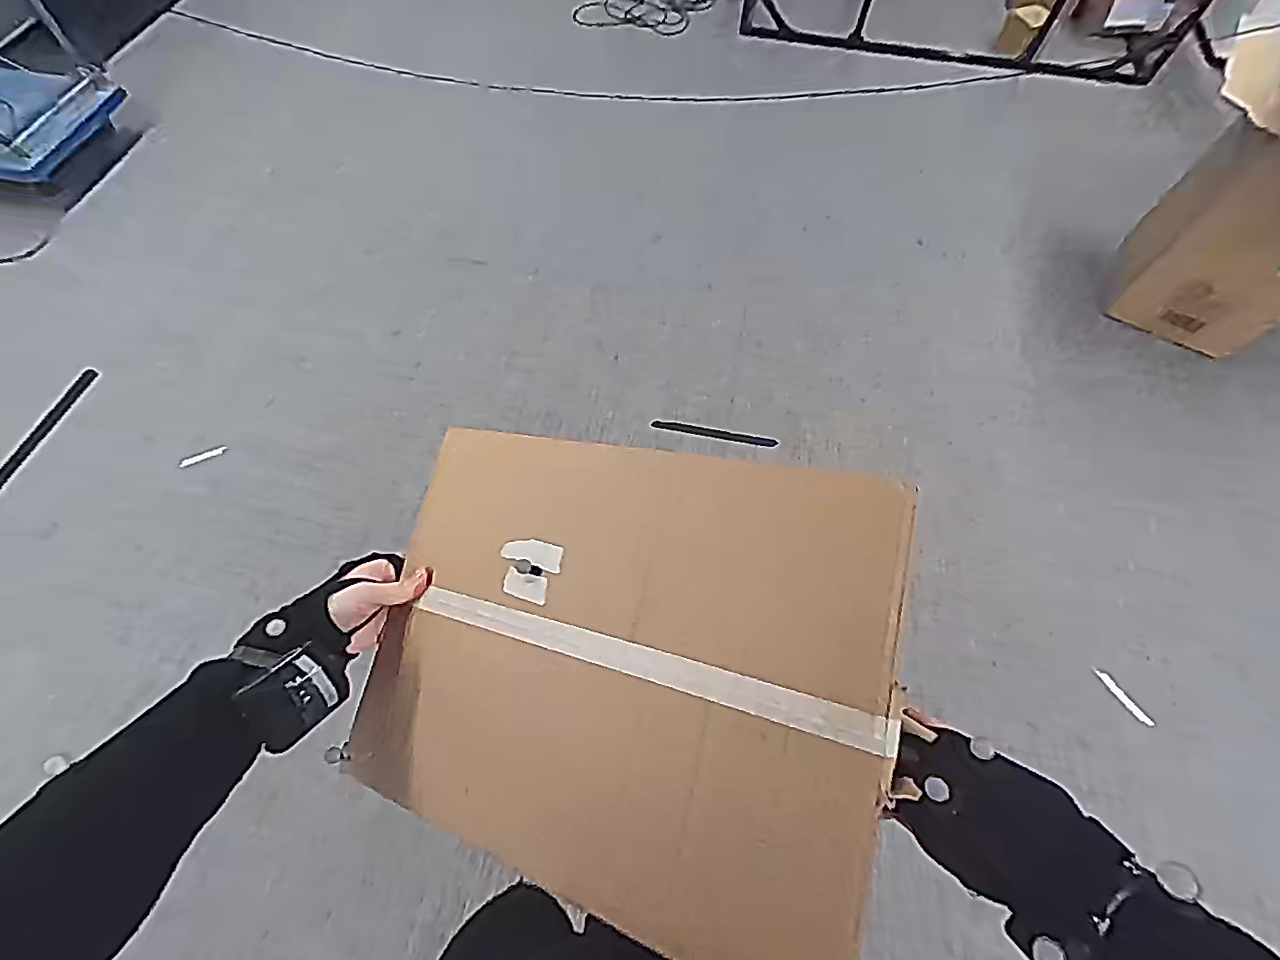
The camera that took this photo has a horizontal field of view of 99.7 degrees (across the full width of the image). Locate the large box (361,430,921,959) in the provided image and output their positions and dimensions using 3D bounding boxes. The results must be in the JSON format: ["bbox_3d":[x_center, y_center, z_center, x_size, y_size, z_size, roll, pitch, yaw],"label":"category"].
[{"bbox_3d":[0.032,0.160,0.533,0.408,0.320,0.320,8,76,26],"label":"large box"}]
